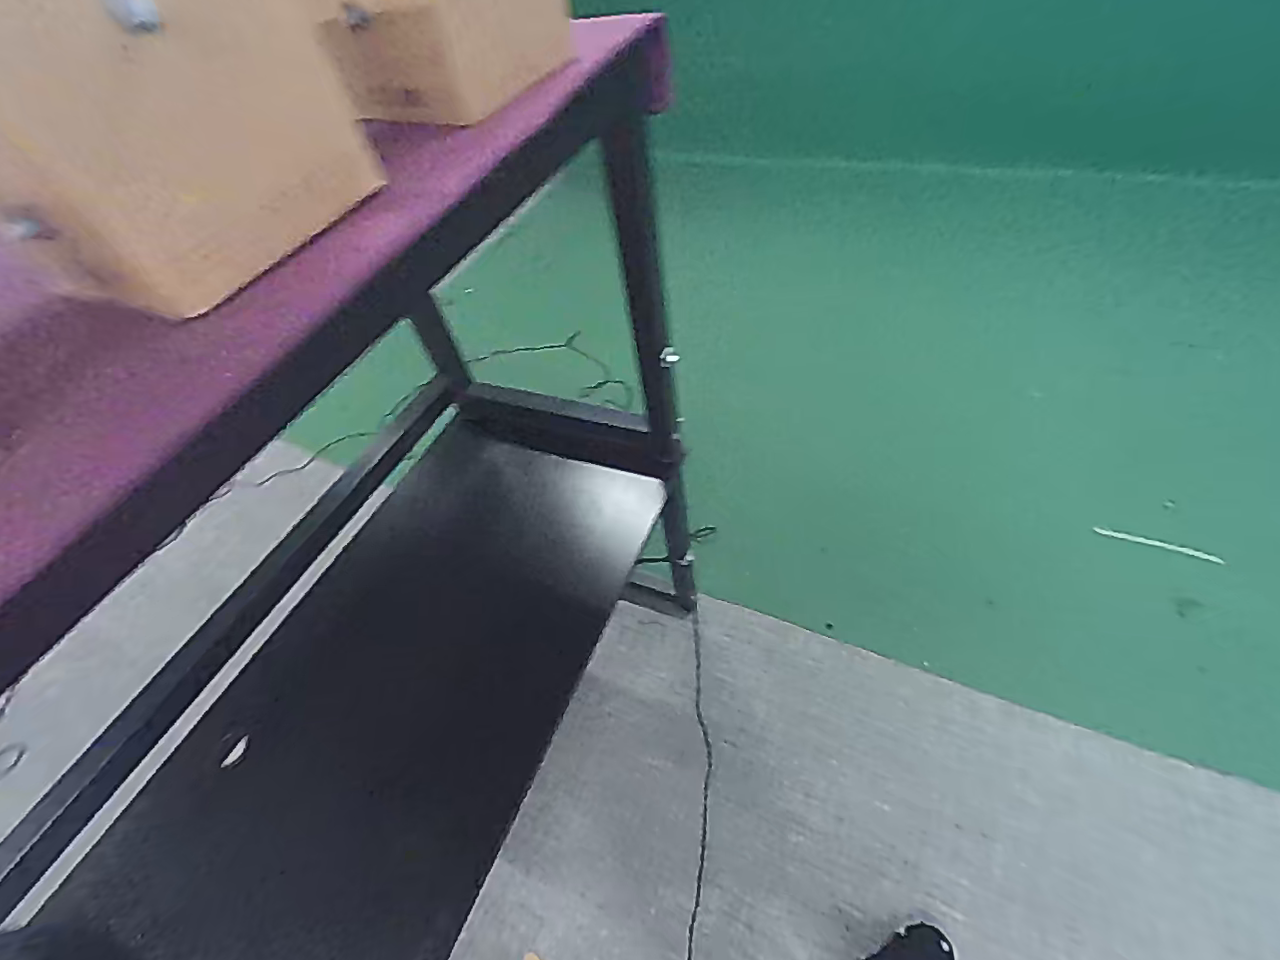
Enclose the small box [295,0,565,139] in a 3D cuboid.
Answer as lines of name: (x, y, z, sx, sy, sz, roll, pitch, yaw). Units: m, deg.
small box: (-0.190, -0.438, 0.497, 0.168, 0.176, 0.179, 19, 57, 22)
